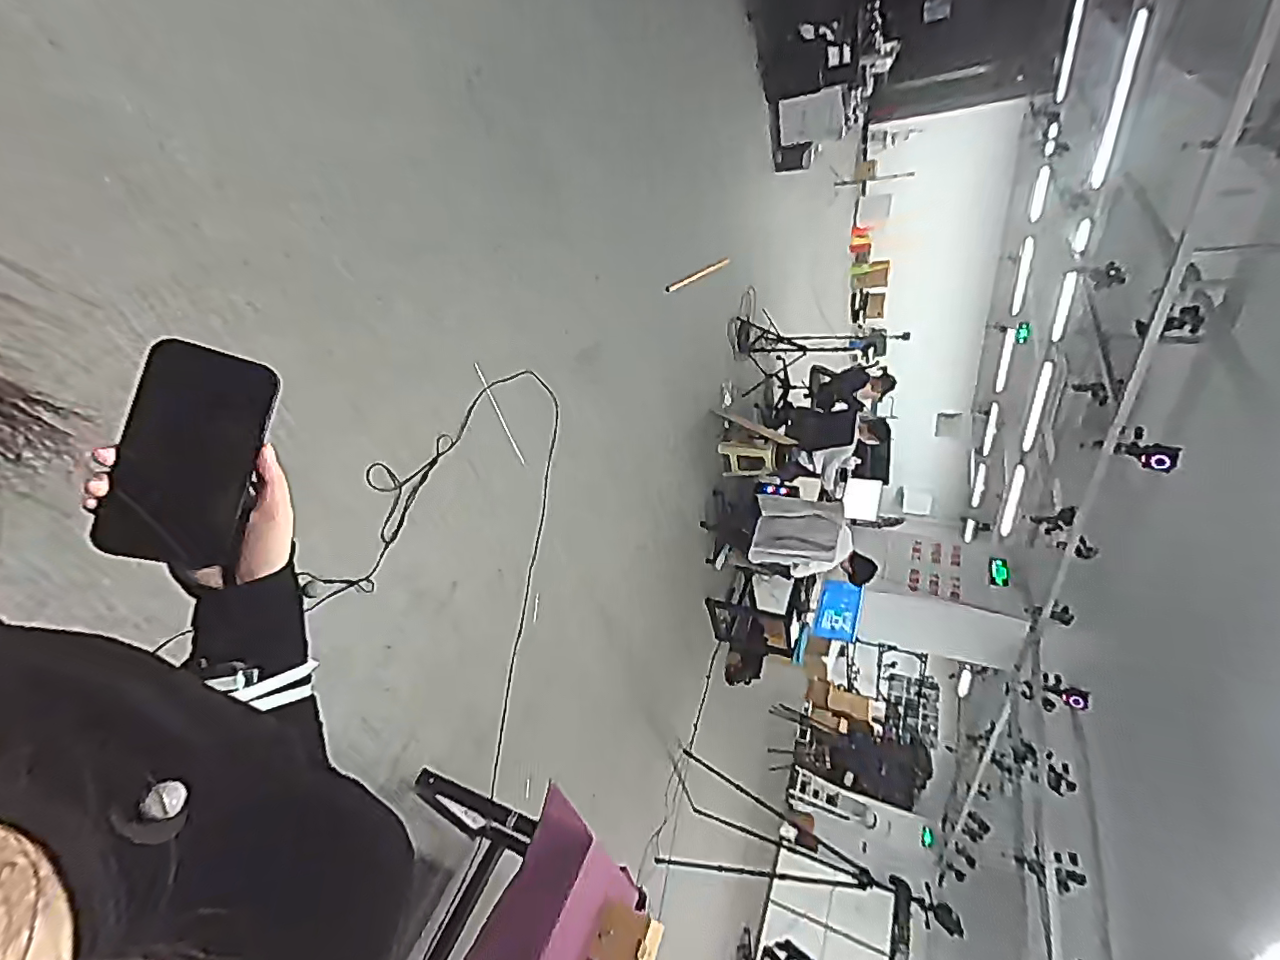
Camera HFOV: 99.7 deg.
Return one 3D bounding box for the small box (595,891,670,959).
[{"bbox_3d":[-0.023,1.495,1.781,0.168,0.176,0.179,-62,145,-36],"label":"small box"}]
